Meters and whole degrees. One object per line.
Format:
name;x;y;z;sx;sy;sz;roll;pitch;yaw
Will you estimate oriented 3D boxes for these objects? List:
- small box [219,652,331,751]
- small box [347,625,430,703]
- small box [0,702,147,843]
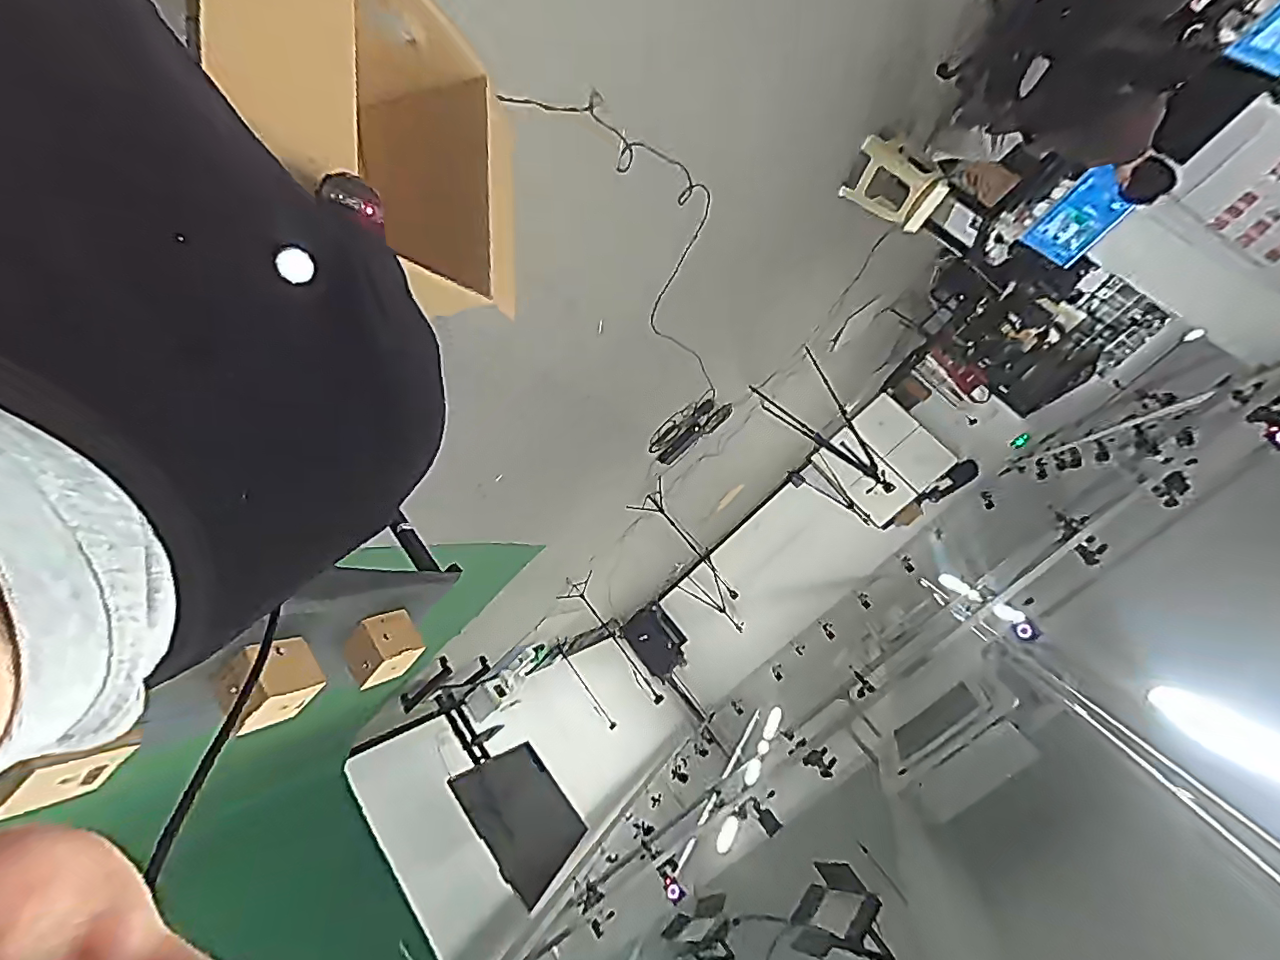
small box;-1.019;0.608;1.506;0.168;0.176;0.179;-45;161;10
small box;-0.861;0.614;1.840;0.179;0.176;0.168;-47;159;21
small box;-1.188;0.585;1.109;0.168;0.176;0.179;-44;161;6
